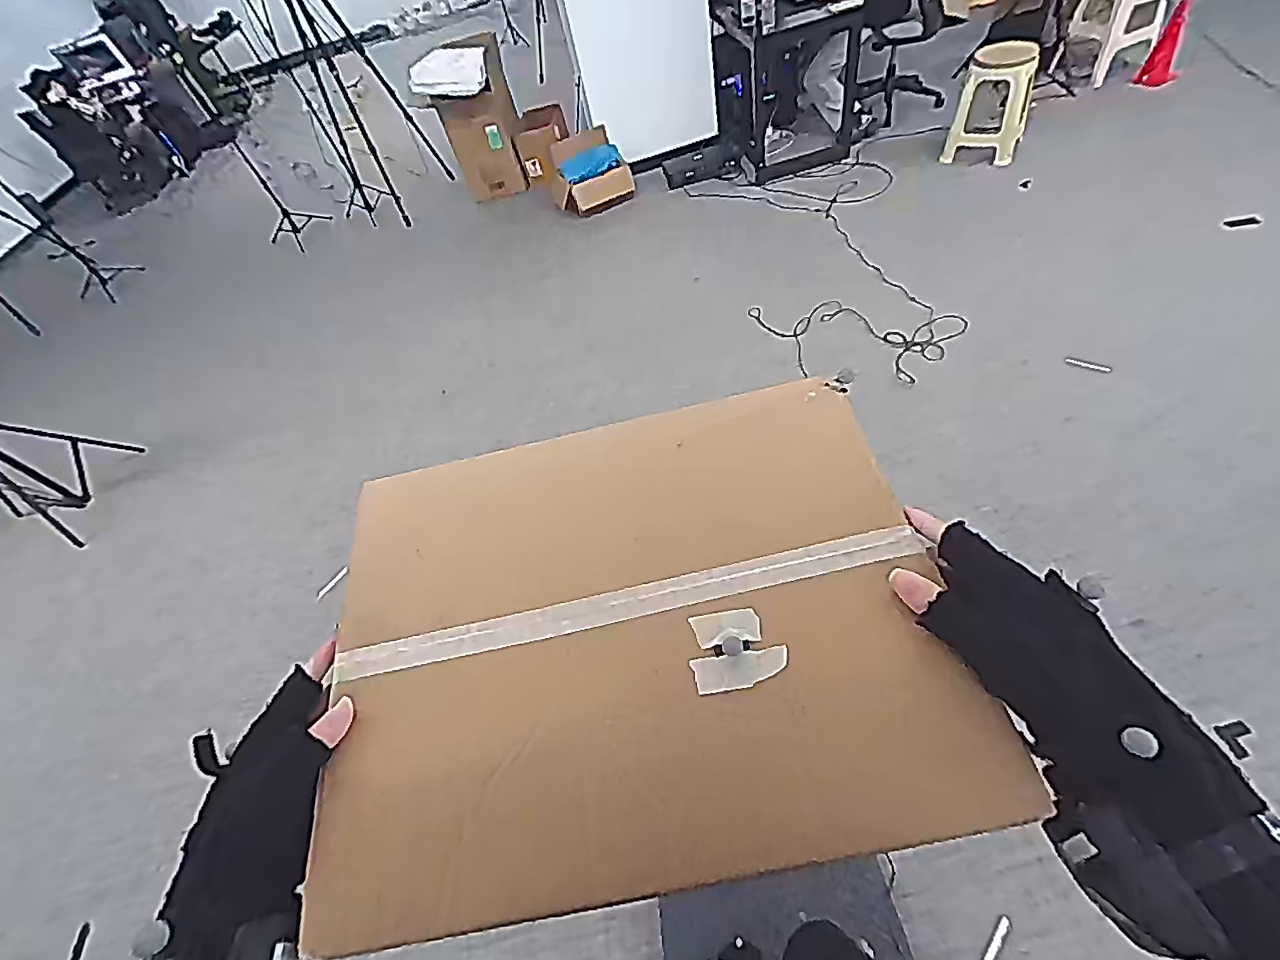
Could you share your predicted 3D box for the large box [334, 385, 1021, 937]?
[{"bbox_3d":[0.013,0.167,0.505,0.408,0.320,0.320,-13,57,2],"label":"large box"}]
